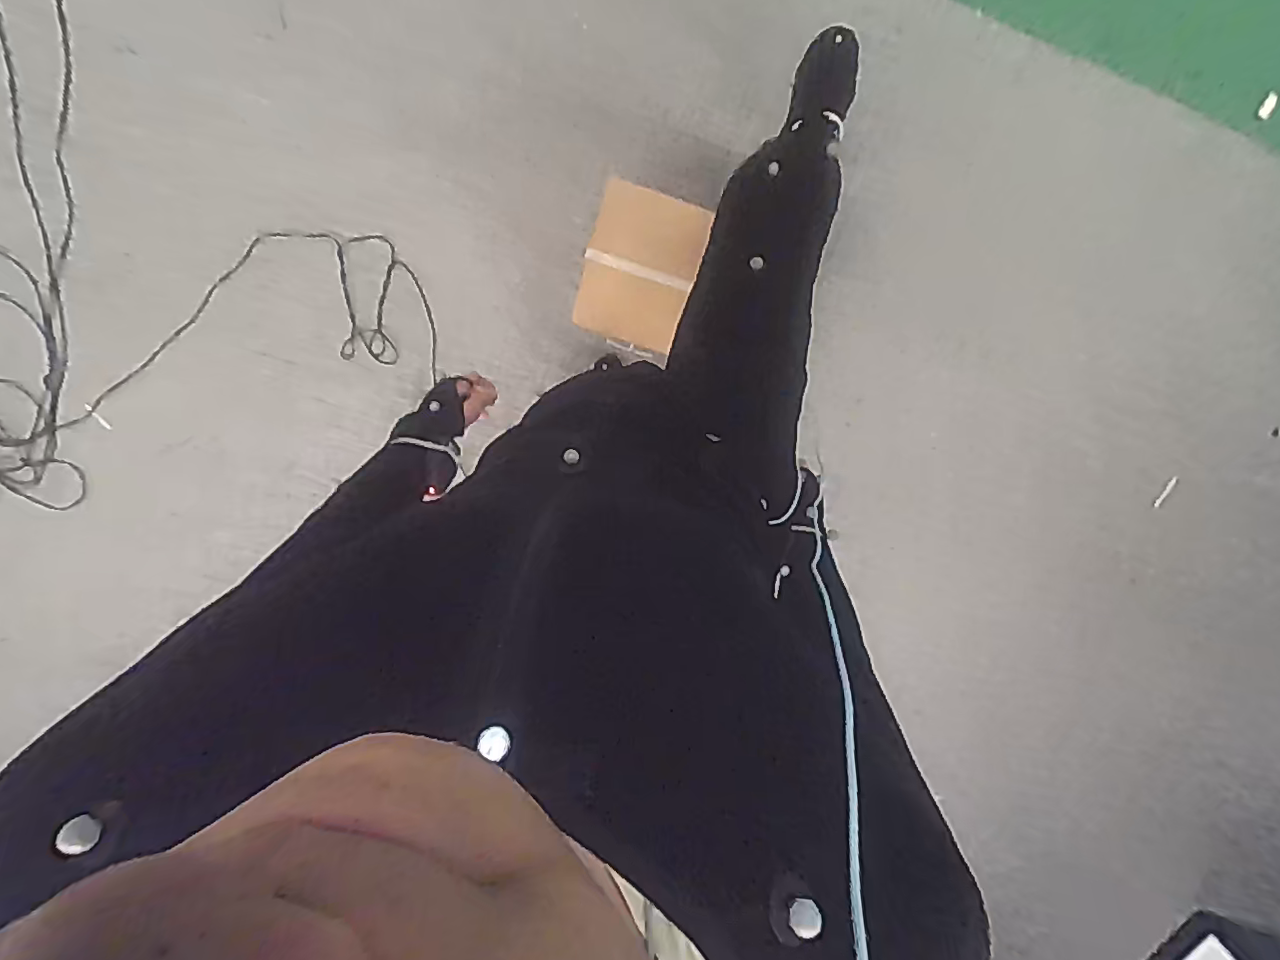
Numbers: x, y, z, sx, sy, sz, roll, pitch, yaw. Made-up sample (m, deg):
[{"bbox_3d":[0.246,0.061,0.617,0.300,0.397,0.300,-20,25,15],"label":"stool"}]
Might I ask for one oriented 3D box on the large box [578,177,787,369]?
[{"bbox_3d":[0.084,-0.497,1.341,0.408,0.320,0.320,16,109,-7],"label":"large box"}]
